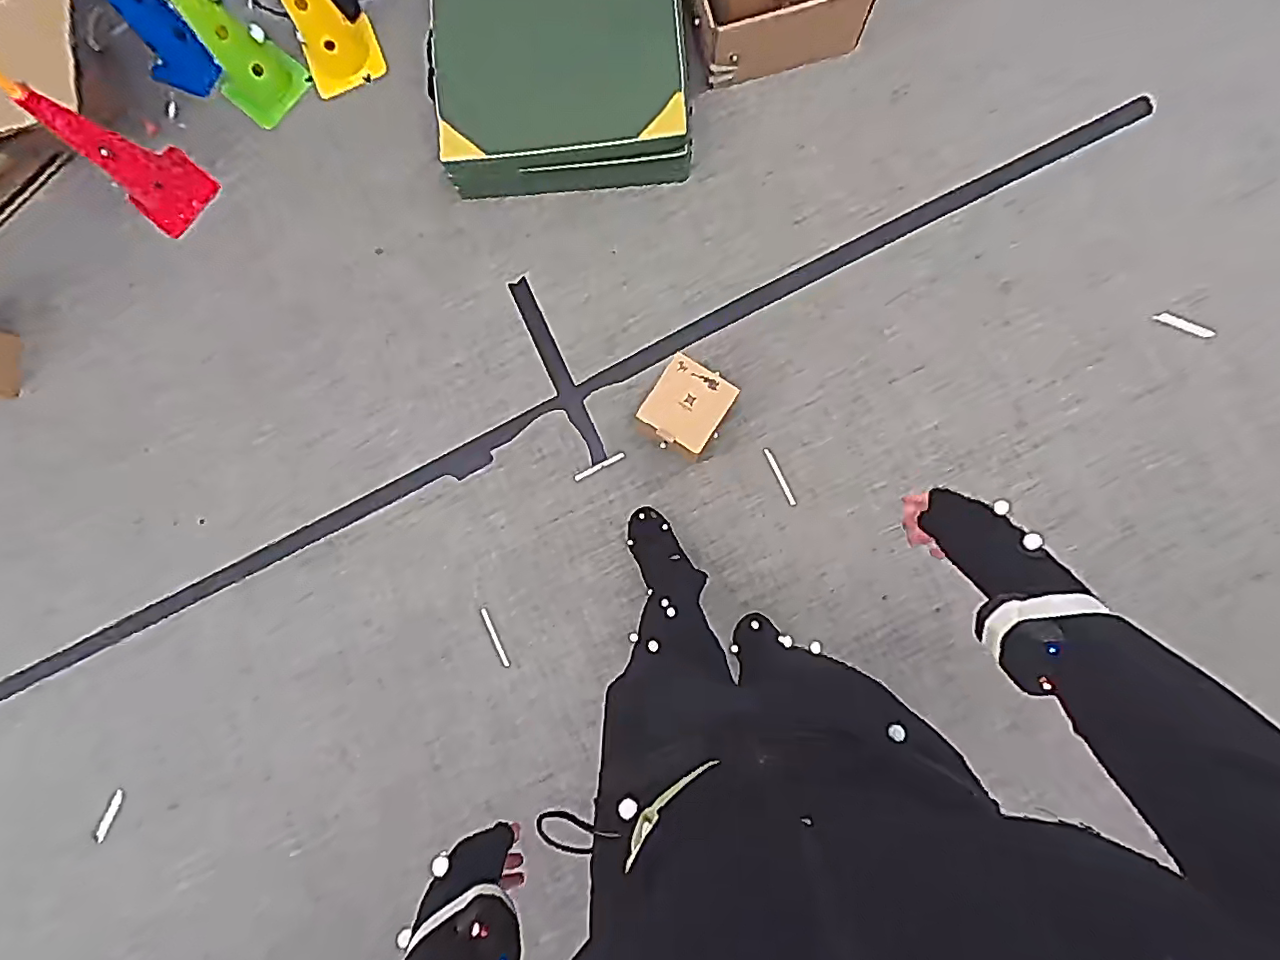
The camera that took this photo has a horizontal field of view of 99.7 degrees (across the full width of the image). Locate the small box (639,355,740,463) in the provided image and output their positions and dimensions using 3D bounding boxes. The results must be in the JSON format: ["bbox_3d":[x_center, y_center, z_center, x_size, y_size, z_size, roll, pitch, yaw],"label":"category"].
[{"bbox_3d":[0.116,-0.157,1.265,0.168,0.176,0.179,31,87,7],"label":"small box"}]
